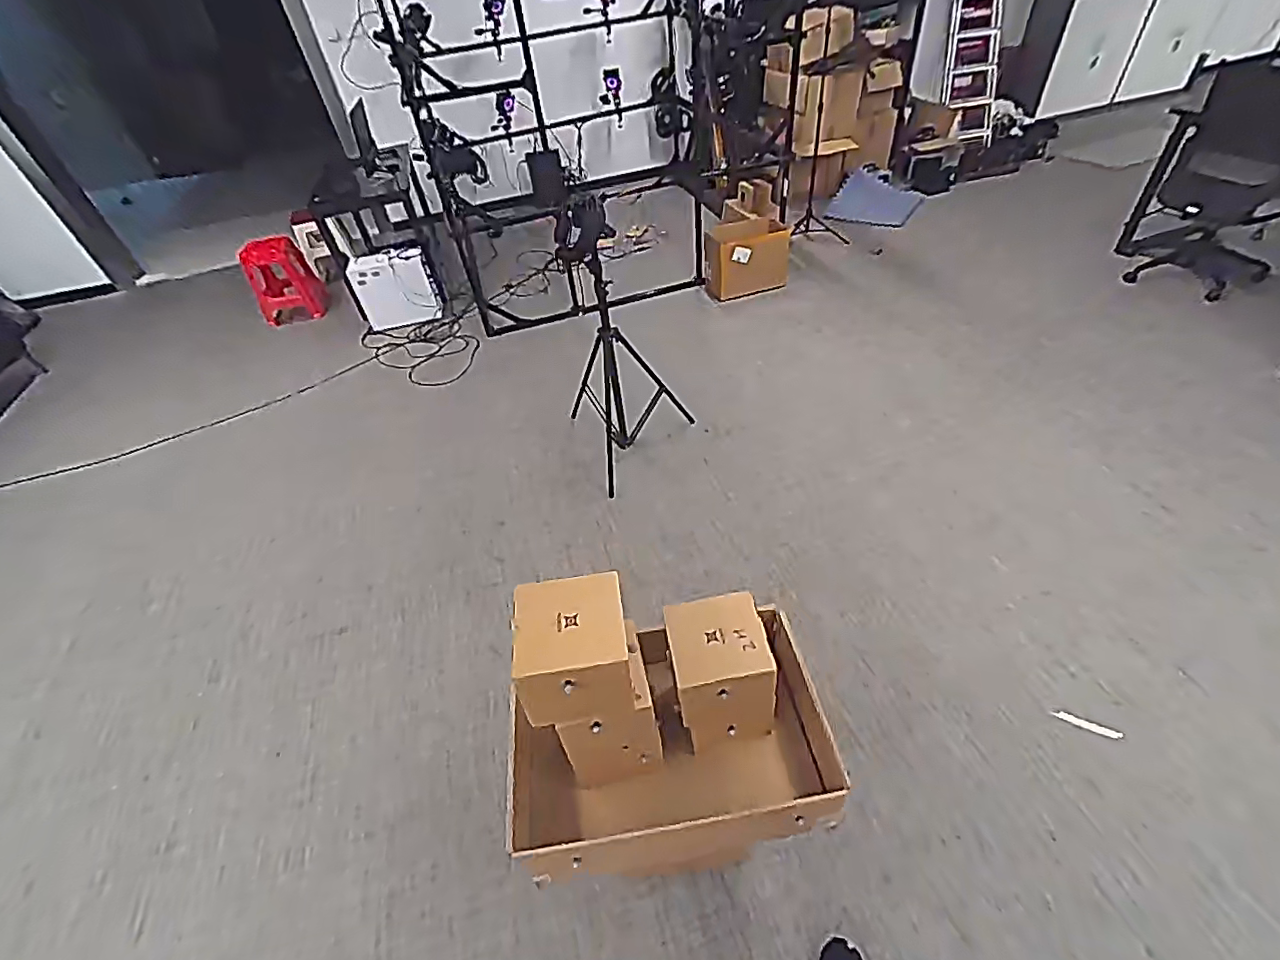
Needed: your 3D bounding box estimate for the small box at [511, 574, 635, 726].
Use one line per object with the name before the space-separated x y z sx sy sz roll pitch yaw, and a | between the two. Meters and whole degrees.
small box | -0.105 0.281 0.892 0.179 0.176 0.168 -9 43 -3
